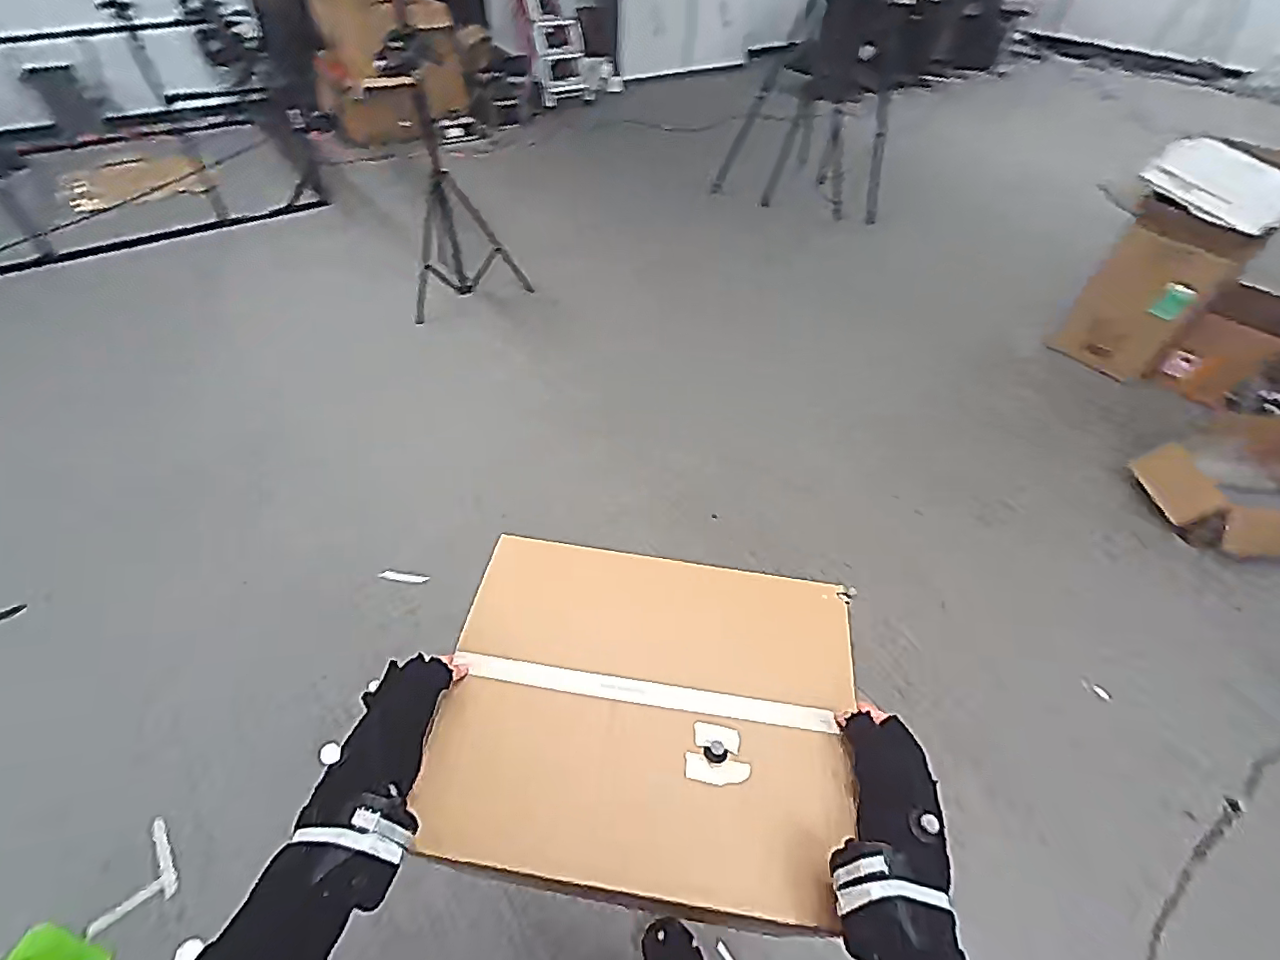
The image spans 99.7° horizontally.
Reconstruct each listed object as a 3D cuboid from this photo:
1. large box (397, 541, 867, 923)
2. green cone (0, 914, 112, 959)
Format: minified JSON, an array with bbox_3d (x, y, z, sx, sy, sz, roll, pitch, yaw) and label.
[{"bbox_3d":[-0.002,0.307,0.654,0.408,0.320,0.320,8,50,3],"label":"large box"},{"bbox_3d":[-1.174,0.871,0.920,0.202,0.368,0.200,12,48,11],"label":"green cone"}]
